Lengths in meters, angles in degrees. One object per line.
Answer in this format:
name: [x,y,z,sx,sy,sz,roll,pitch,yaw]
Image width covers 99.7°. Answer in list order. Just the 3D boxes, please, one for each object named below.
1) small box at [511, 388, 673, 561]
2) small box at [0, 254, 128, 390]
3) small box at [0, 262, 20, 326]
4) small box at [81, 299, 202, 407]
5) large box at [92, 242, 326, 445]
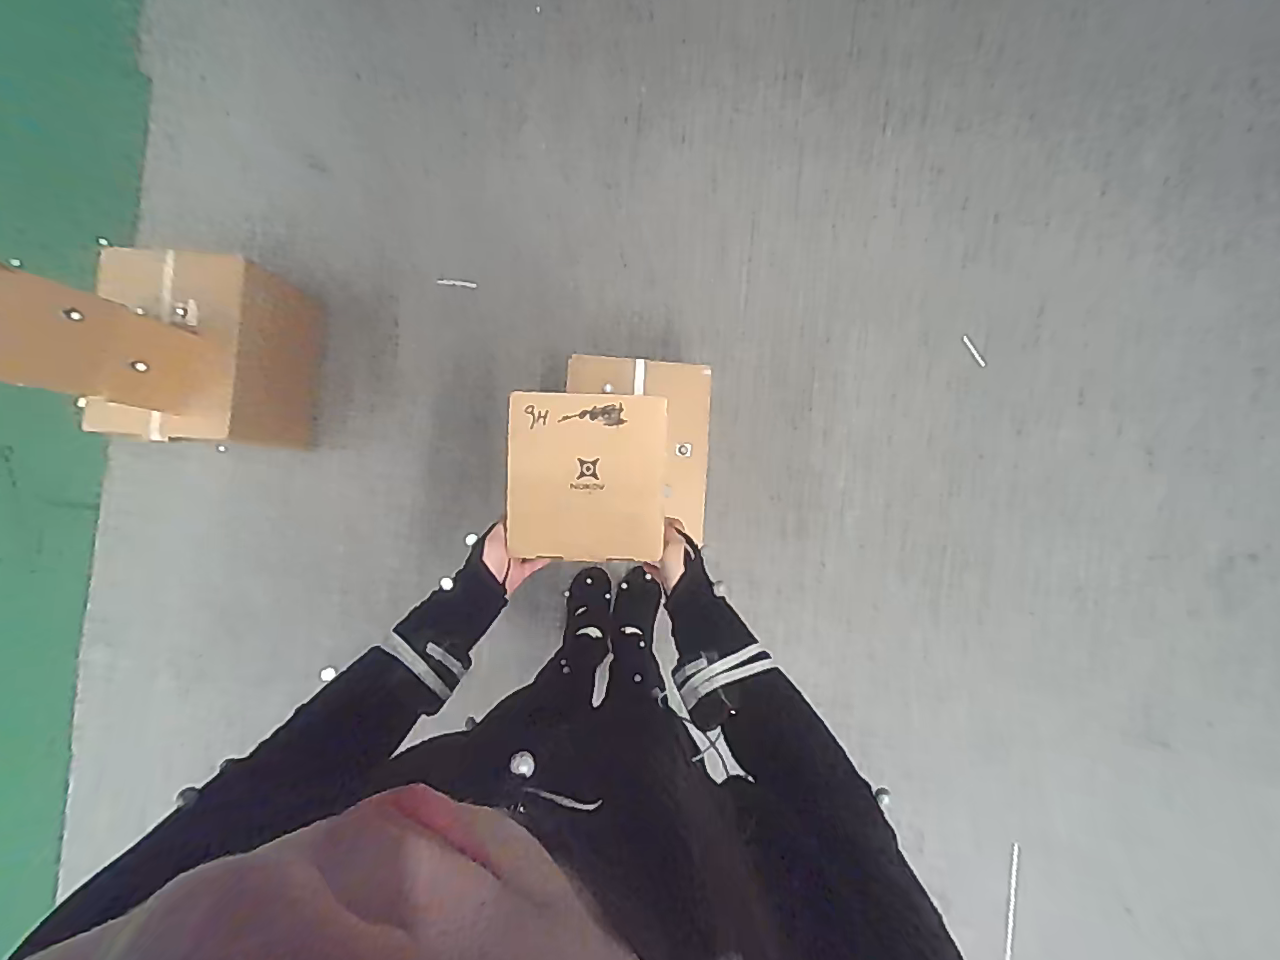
small box: [-0.050,-0.011,0.639,0.168,0.176,0.179,2,94,0]
small box: [-1.020,-0.266,0.898,0.168,0.176,0.179,18,90,1]
small box: [-1.030,-0.265,0.734,0.179,0.176,0.168,19,89,1]
small box: [-1.015,-0.255,1.060,0.168,0.176,0.179,15,90,1]
large box: [-1.006,-0.302,1.304,0.320,0.320,0.408,4,88,0]
